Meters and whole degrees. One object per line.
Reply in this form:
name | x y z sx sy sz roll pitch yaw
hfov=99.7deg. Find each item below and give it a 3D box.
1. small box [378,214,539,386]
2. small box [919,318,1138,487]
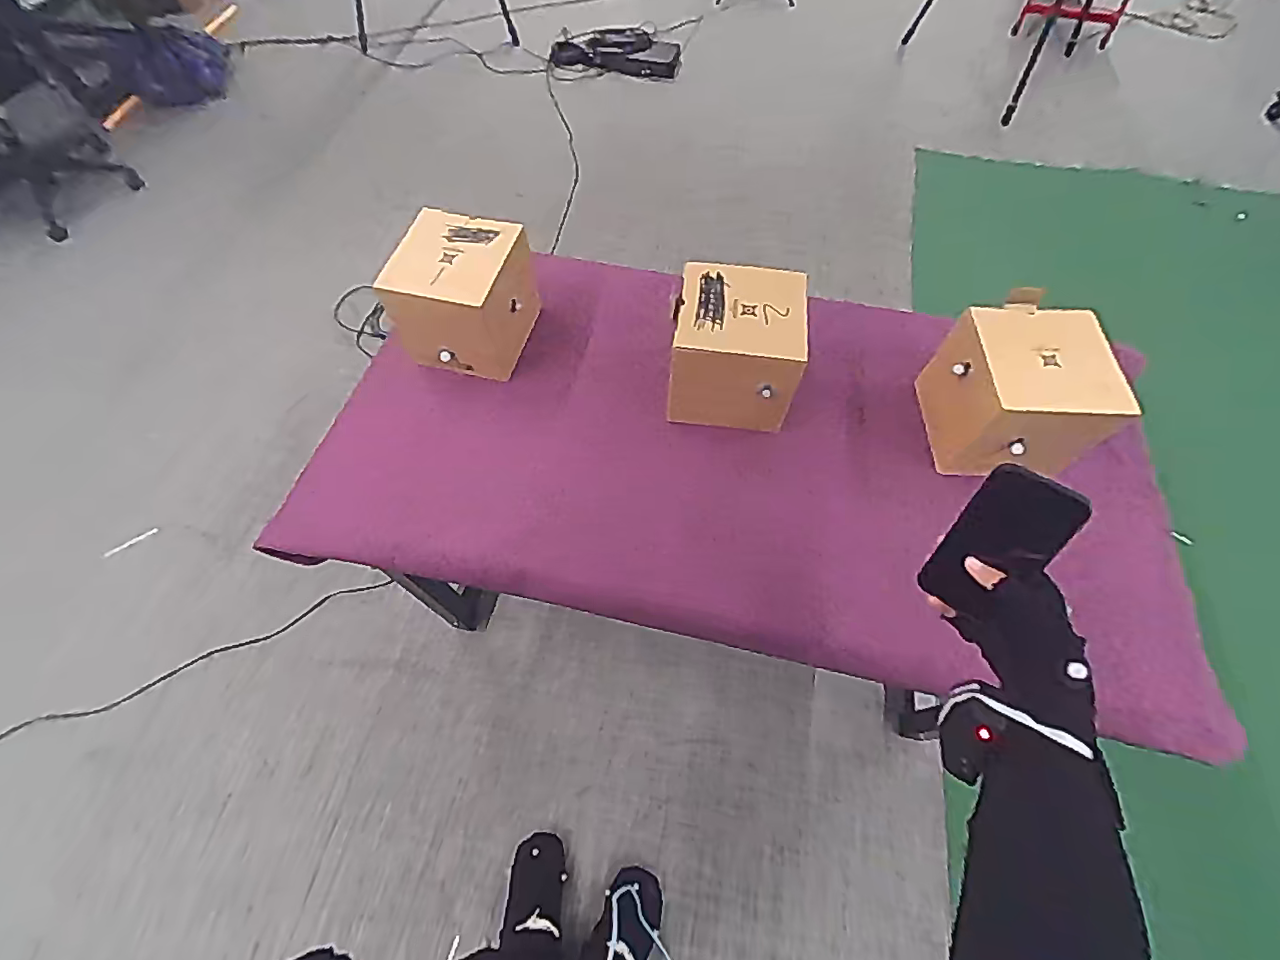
small box | -0.268 -0.278 0.852 0.168 0.176 0.179 13 63 7
small box | 0.522 -0.102 0.760 0.168 0.176 0.179 2 60 2
